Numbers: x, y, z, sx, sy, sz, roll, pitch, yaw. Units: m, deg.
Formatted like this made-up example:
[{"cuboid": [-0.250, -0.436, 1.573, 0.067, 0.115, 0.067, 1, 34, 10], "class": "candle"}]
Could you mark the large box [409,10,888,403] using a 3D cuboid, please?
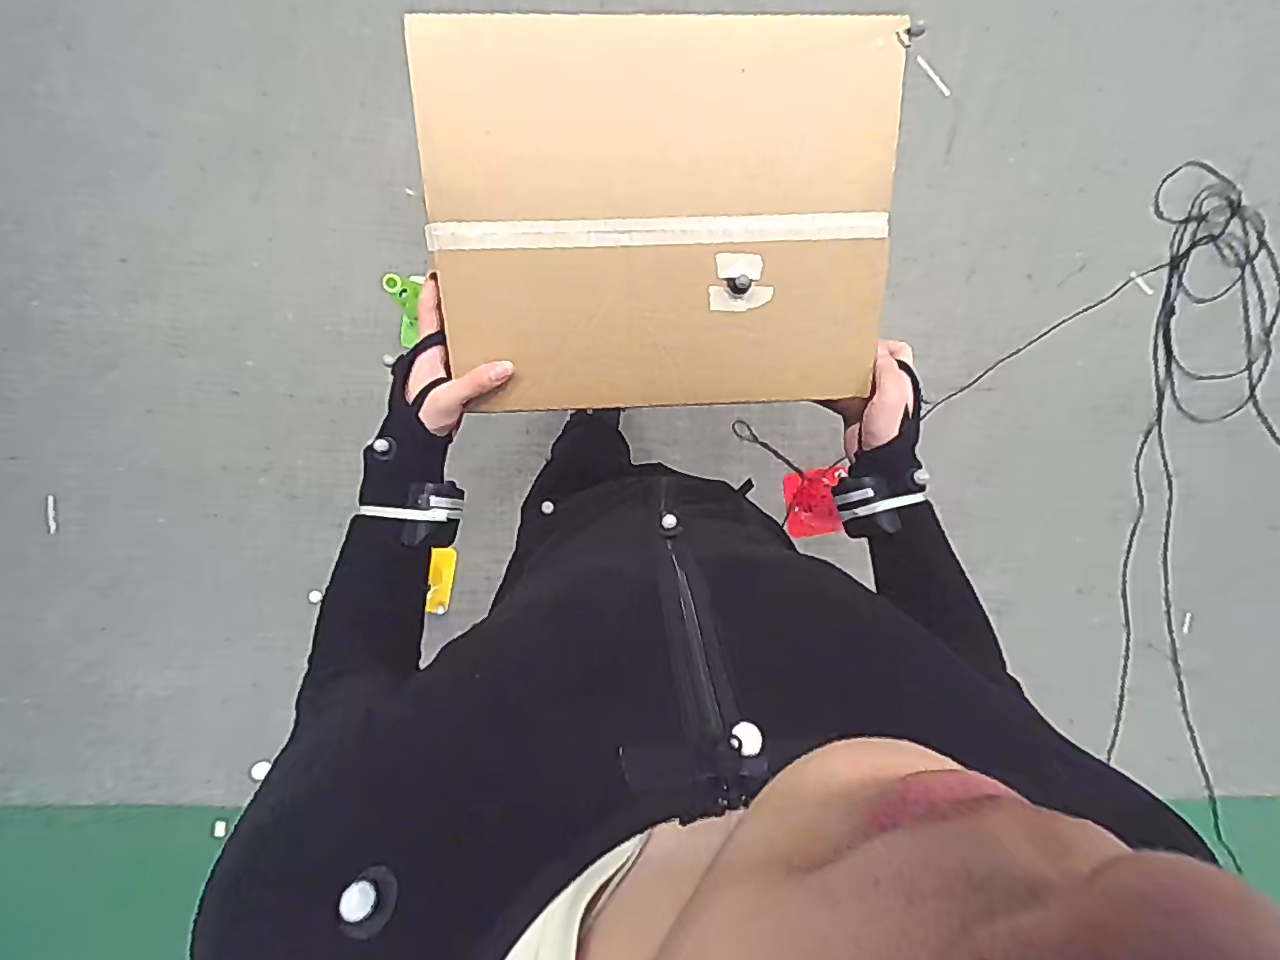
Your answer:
[{"cuboid": [0.006, -0.277, 0.627, 0.408, 0.320, 0.320, -3, 109, -4], "class": "large box"}]

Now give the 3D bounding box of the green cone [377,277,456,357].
[{"cuboid": [-0.563, -0.437, 1.346, 0.200, 0.368, 0.202, 8, 96, -4], "class": "green cone"}]

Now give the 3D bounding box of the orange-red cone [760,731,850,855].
[{"cuboid": [0.500, 0.906, 1.532, 0.199, 0.360, 0.198, 9, 95, -6], "class": "orange-red cone"}]
